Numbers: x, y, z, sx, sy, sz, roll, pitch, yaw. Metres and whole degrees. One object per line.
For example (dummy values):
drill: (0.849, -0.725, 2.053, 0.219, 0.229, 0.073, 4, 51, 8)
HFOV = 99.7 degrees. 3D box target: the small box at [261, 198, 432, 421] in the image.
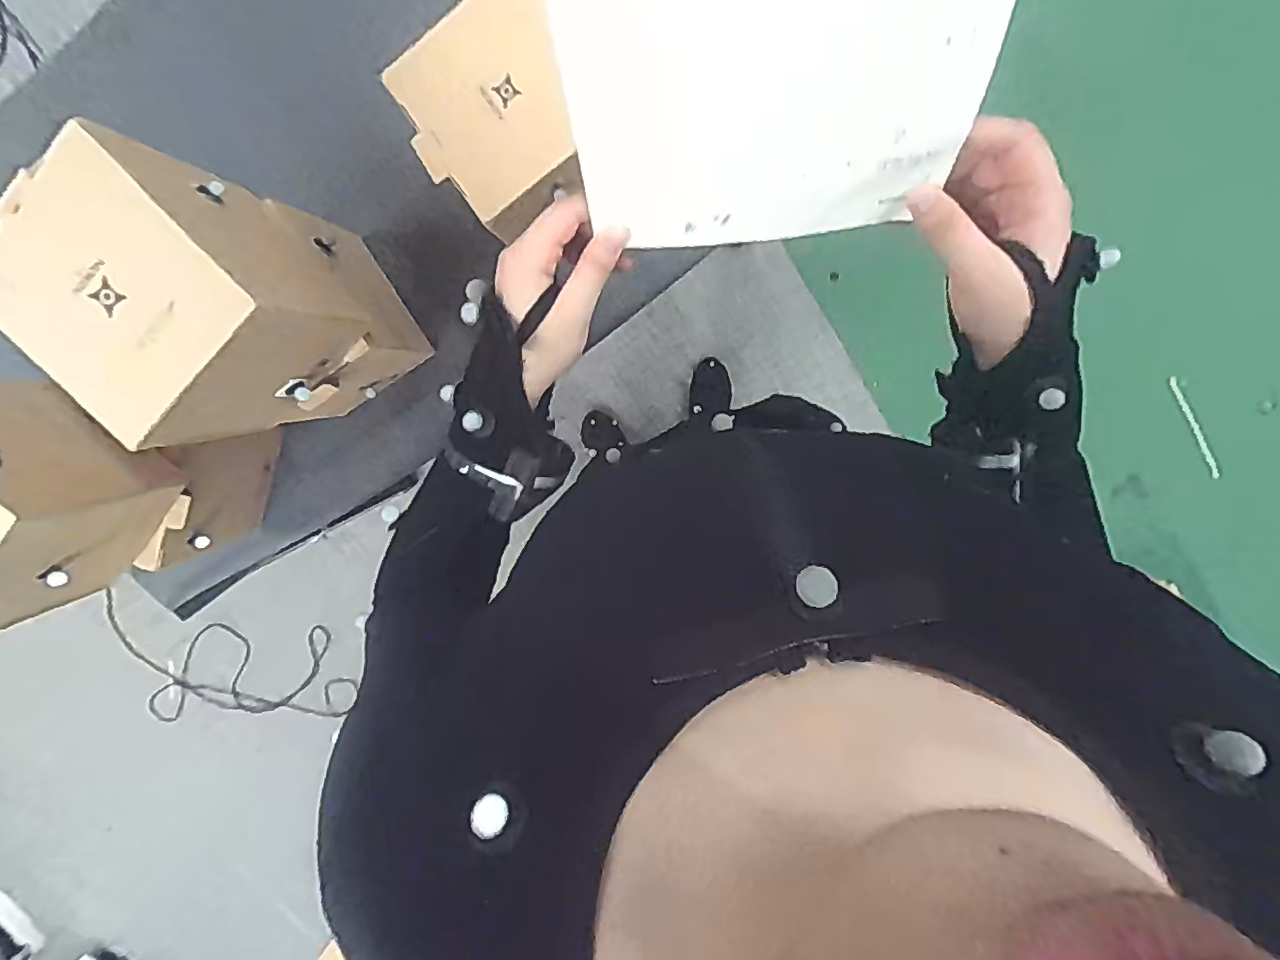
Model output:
small box: (-0.387, -0.188, 0.642, 0.168, 0.176, 0.179, -31, 99, 9)

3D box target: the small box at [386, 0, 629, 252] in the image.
small box: (-0.125, -0.382, 0.590, 0.179, 0.176, 0.168, -35, 97, 10)

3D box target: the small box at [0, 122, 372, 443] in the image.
small box: (-0.390, -0.156, 0.483, 0.168, 0.176, 0.179, -42, 97, 11)

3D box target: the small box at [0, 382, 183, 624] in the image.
small box: (-0.613, 0.023, 0.528, 0.168, 0.176, 0.179, 41, 101, -6)
